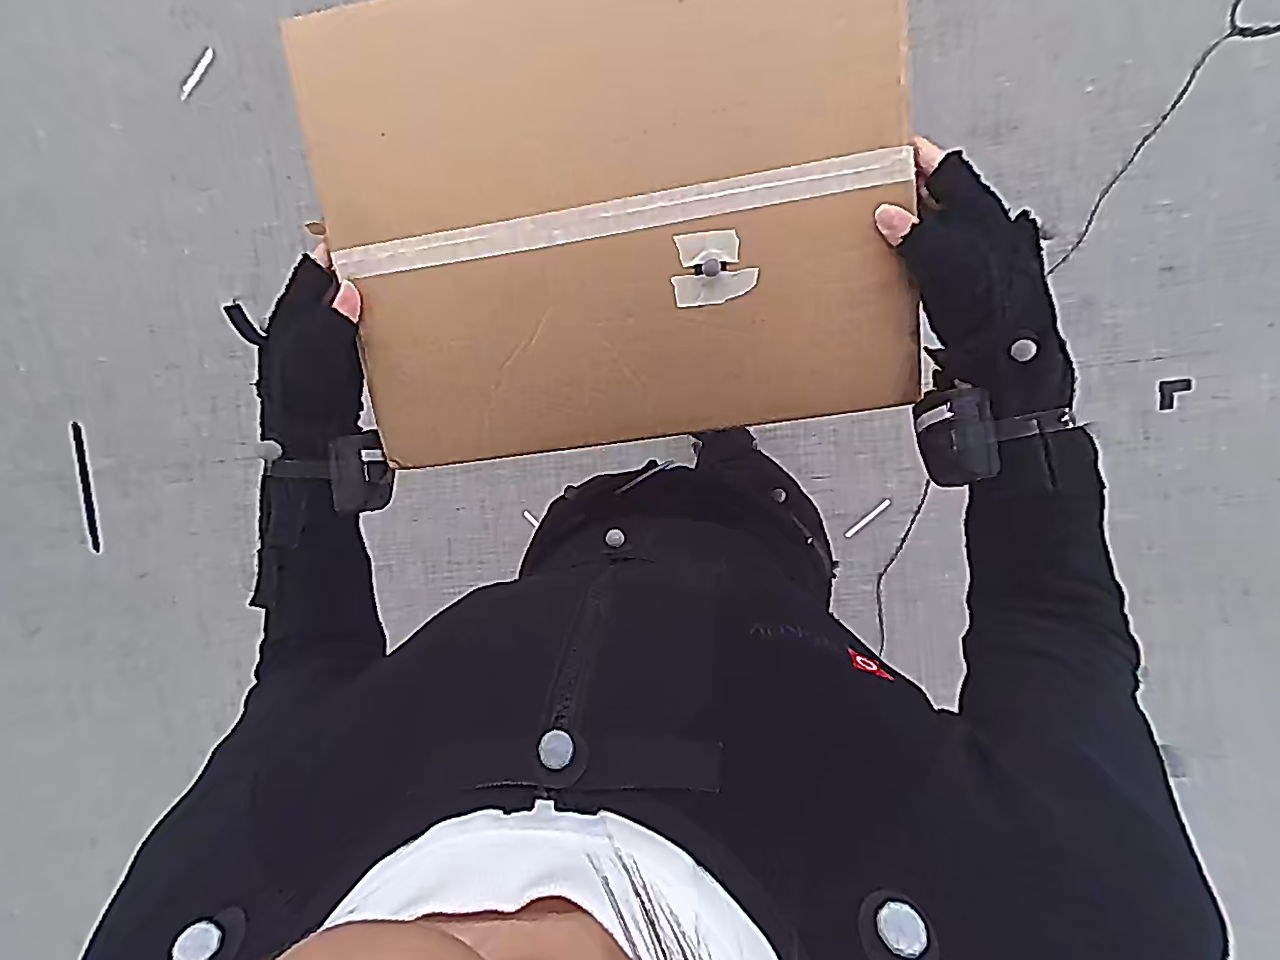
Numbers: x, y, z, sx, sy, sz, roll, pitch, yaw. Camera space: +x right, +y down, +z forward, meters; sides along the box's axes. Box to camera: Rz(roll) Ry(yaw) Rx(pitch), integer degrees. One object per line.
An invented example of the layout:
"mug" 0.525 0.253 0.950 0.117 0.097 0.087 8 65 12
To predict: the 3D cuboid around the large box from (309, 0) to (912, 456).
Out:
"large box" -0.008 -0.225 0.534 0.408 0.320 0.320 -8 103 5
